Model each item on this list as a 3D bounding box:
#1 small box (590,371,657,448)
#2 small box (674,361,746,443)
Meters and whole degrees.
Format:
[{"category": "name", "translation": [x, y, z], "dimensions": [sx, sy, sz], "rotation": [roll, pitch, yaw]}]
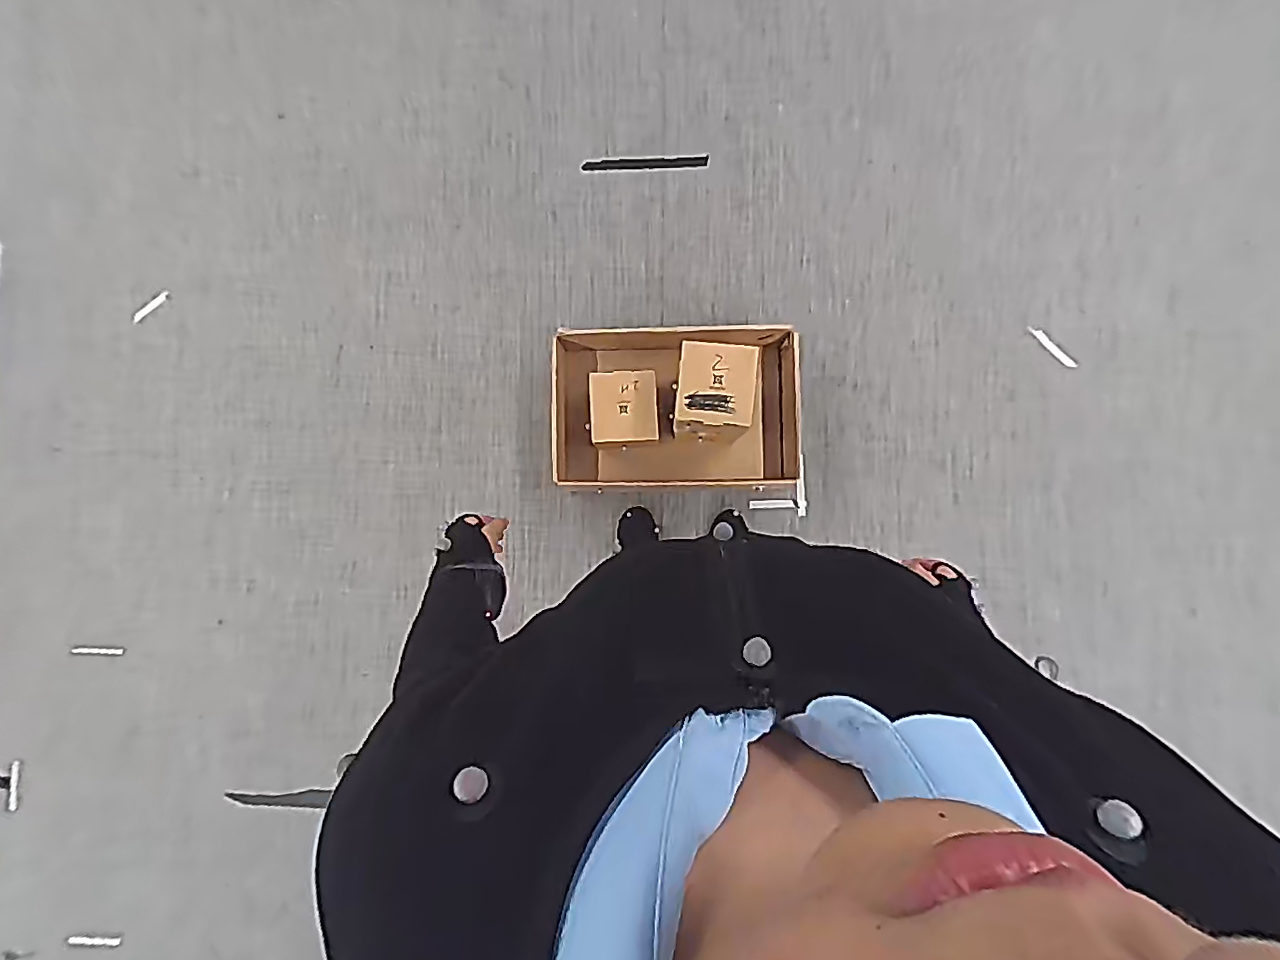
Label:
[{"category": "small box", "translation": [-0.039, -0.176, 1.402], "dimensions": [0.168, 0.176, 0.179], "rotation": [-2, 87, 0]}, {"category": "small box", "translation": [0.177, -0.196, 1.399], "dimensions": [0.168, 0.176, 0.179], "rotation": [4, 88, 4]}]
